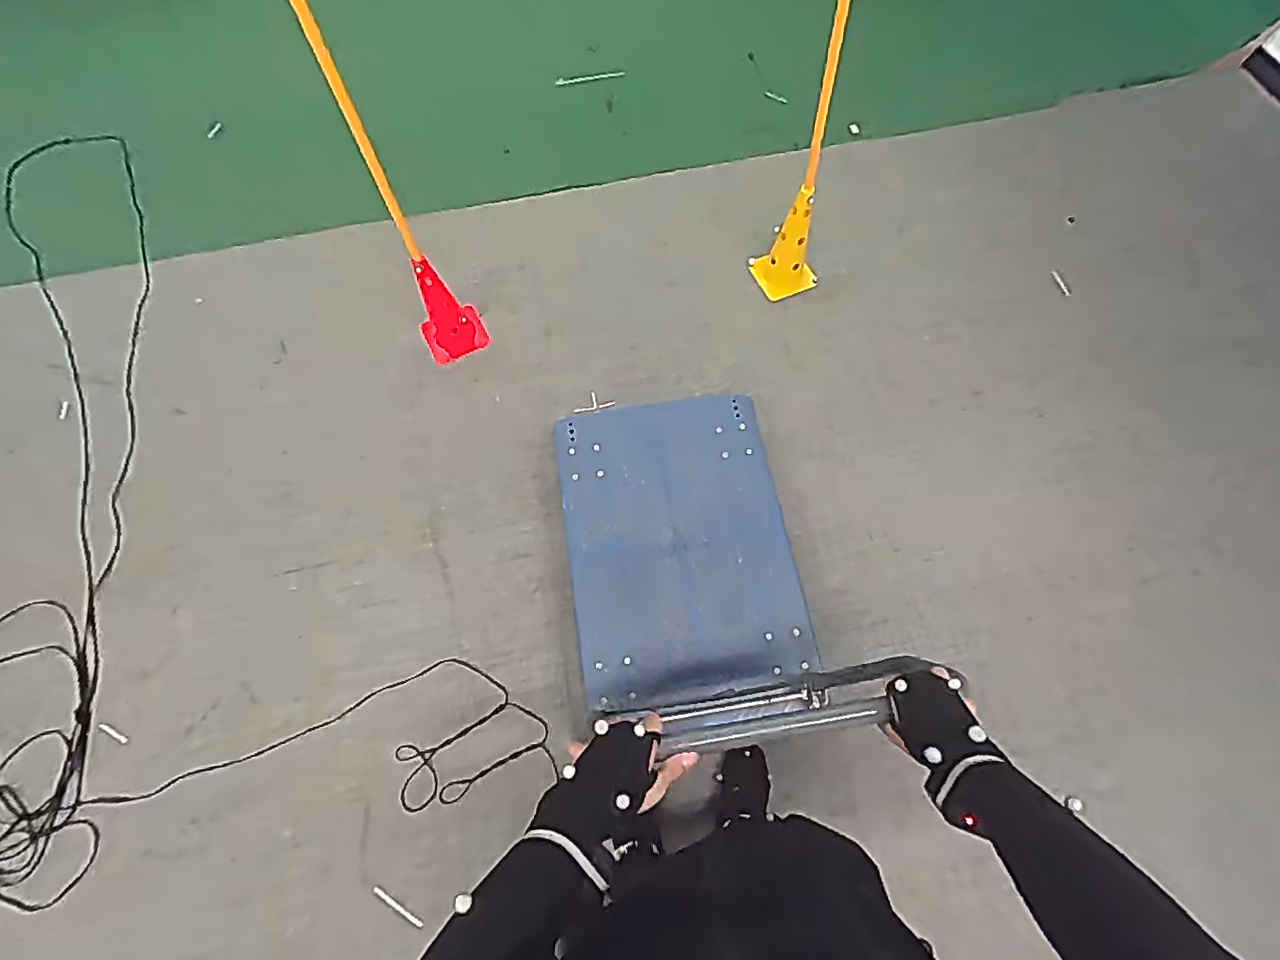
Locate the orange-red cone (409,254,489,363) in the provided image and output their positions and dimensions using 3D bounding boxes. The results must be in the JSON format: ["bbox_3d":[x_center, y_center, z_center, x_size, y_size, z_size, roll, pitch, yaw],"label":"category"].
[{"bbox_3d":[-0.644,-0.569,1.715,0.199,0.360,0.198,-26,69,-8],"label":"orange-red cone"}]
